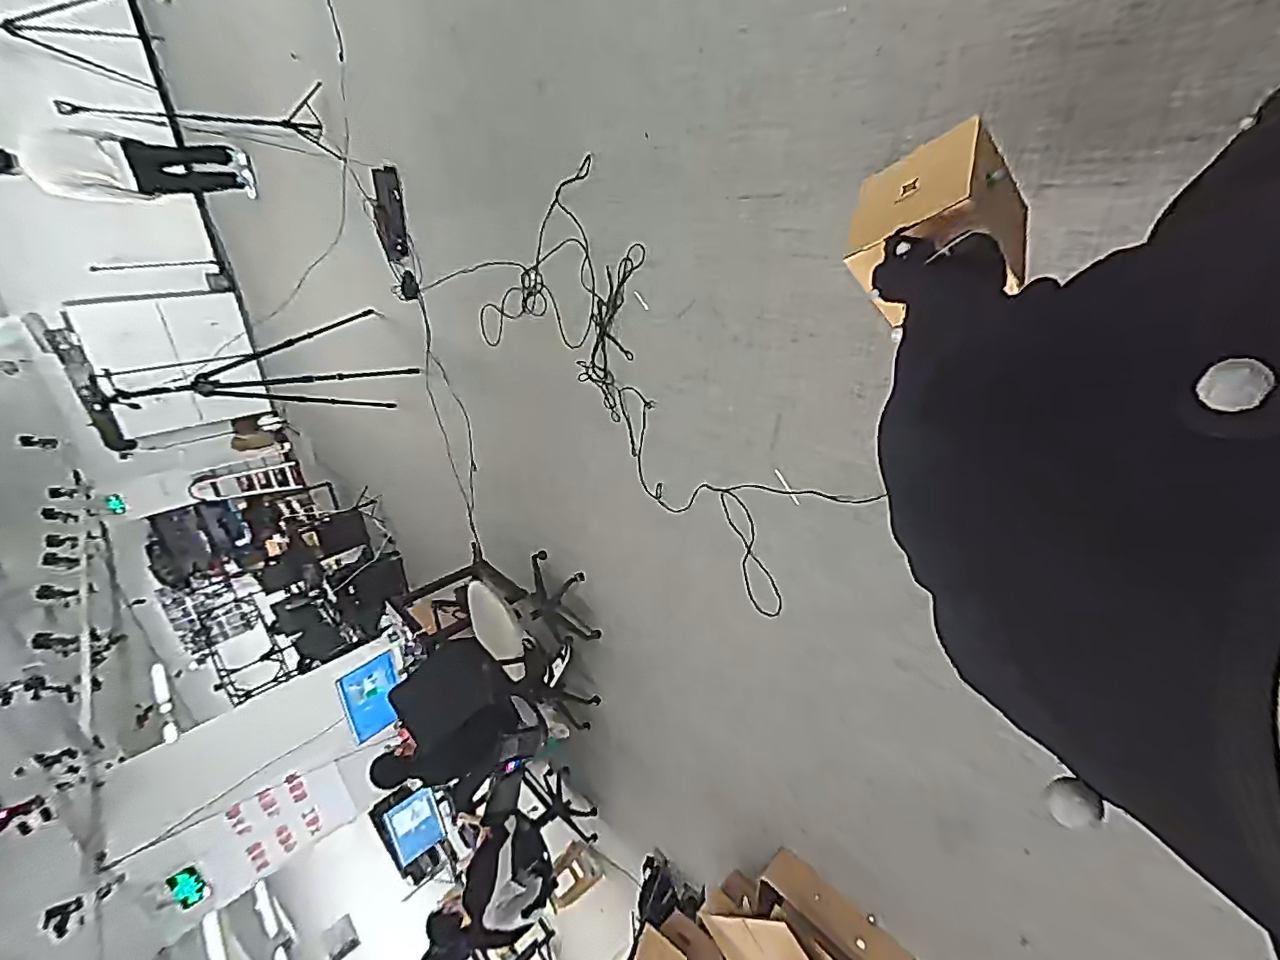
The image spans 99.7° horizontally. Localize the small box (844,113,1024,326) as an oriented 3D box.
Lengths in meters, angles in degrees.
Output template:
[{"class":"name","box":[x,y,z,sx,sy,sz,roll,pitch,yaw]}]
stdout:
[{"class":"small box","box":[0.422,-0.357,0.772,0.176,0.179,0.168,34,152,-29]}]
